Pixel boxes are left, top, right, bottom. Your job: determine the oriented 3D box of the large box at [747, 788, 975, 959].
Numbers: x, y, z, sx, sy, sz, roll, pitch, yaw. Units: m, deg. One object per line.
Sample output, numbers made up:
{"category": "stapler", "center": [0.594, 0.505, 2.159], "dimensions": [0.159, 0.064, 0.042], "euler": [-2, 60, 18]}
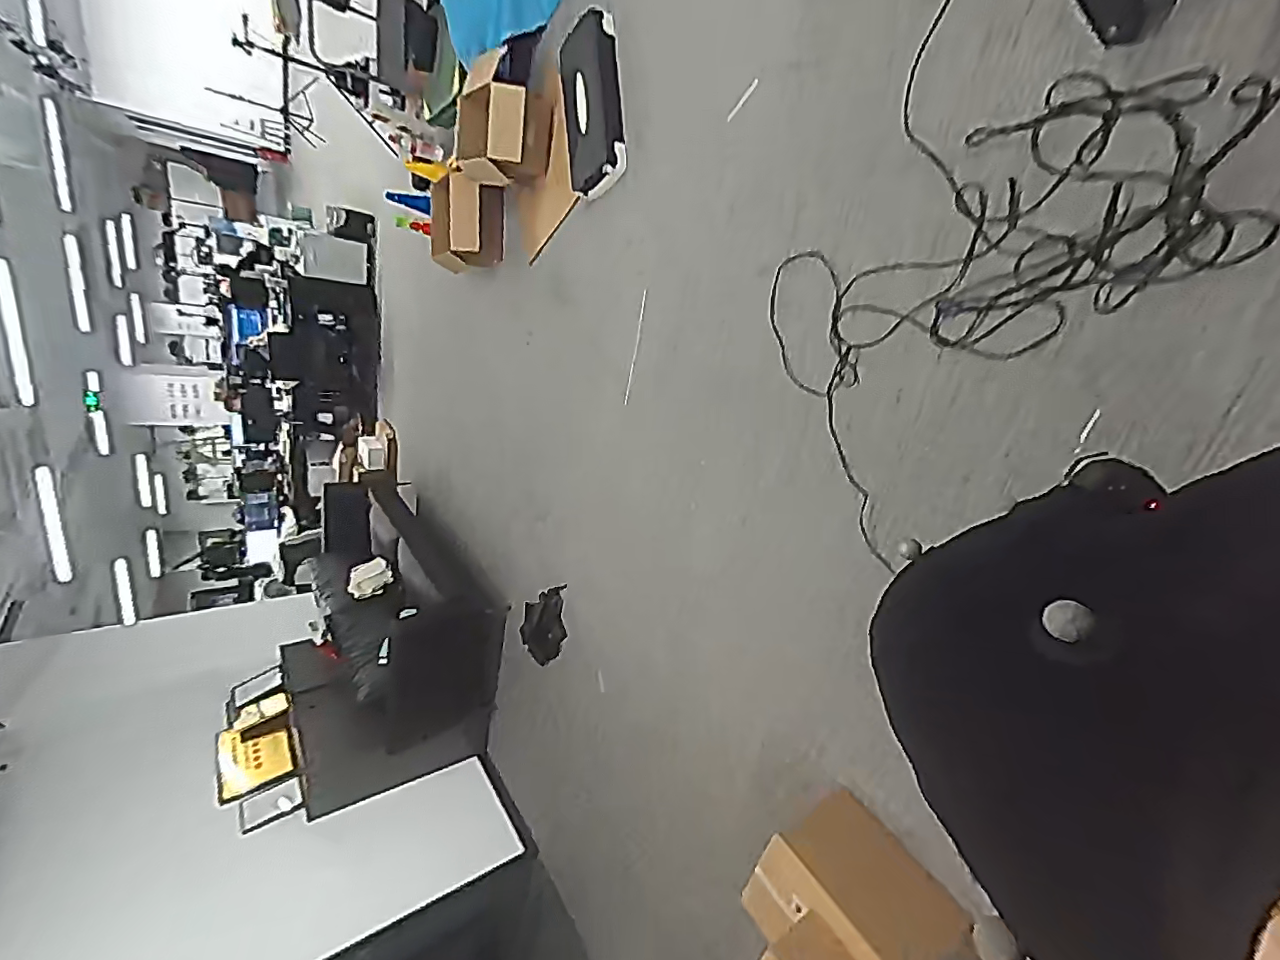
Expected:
{"category": "large box", "center": [0.567, 1.135, 1.429], "dimensions": [0.408, 0.320, 0.320], "euler": [40, 123, 44]}
